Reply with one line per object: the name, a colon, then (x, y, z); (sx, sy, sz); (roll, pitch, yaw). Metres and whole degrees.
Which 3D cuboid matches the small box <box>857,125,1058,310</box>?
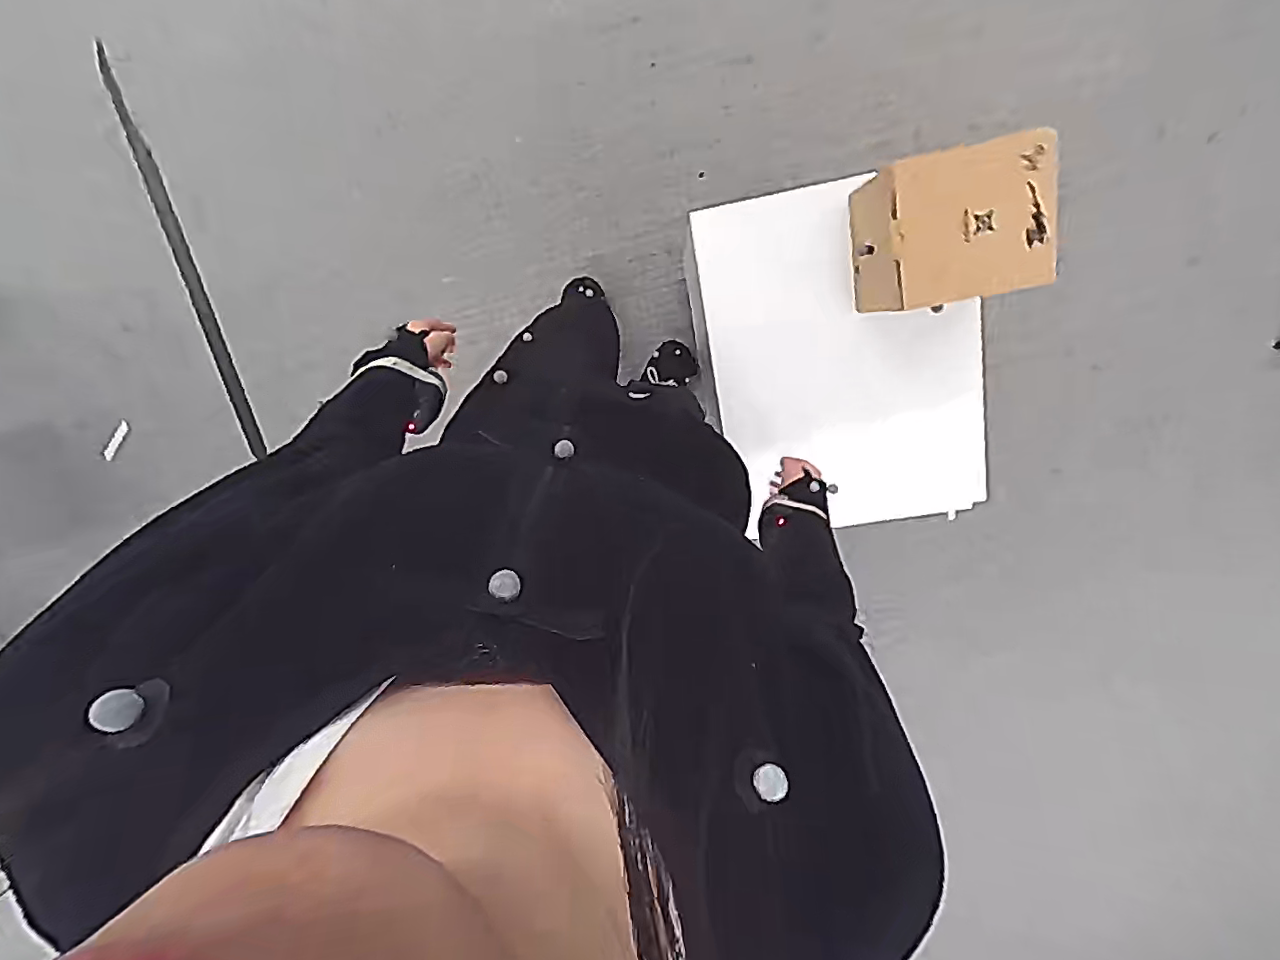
small box: (0.387, -0.316, 0.690); (0.179, 0.176, 0.168); (-9, 106, 8)
